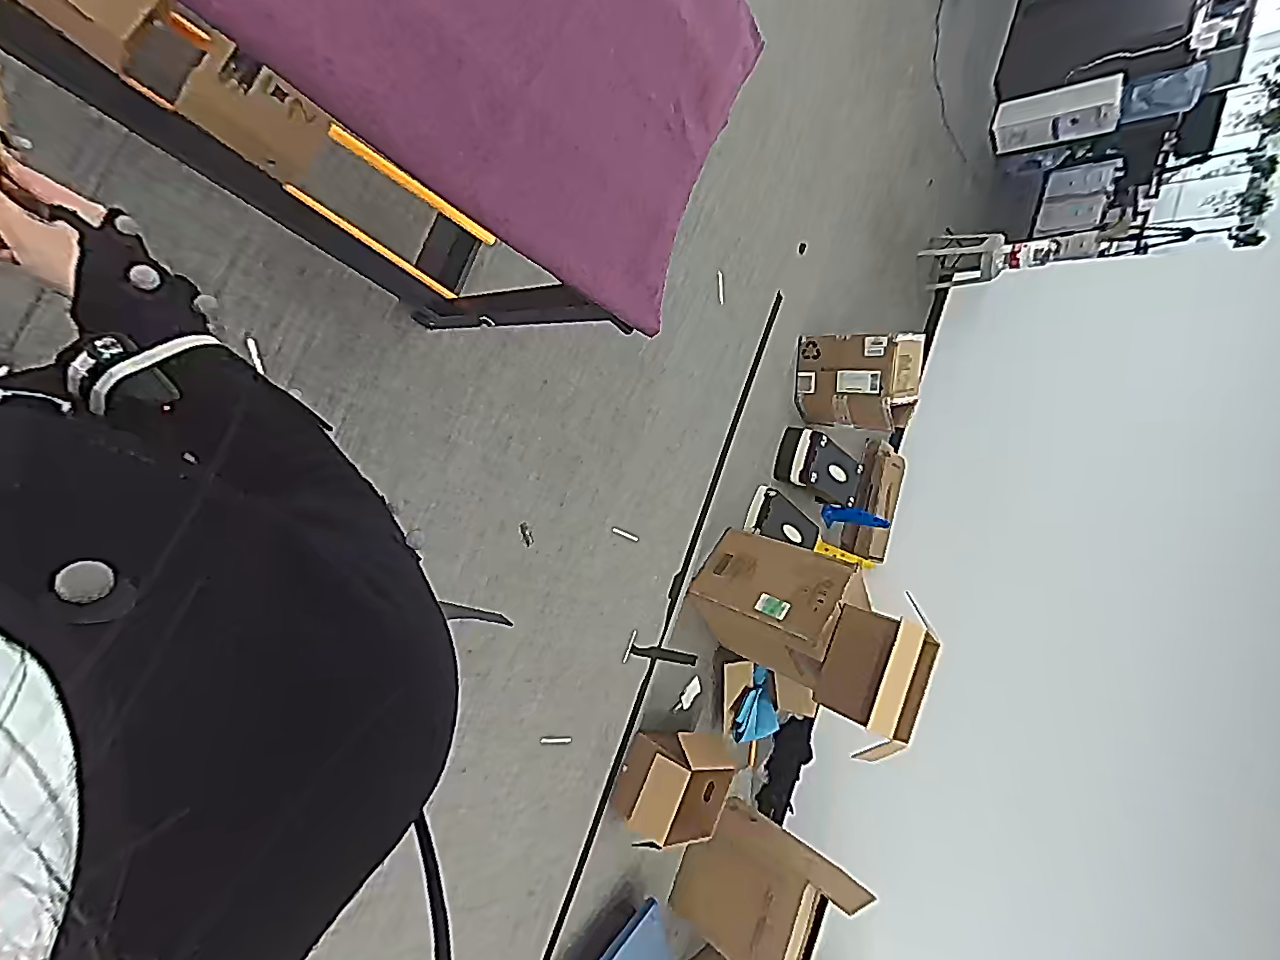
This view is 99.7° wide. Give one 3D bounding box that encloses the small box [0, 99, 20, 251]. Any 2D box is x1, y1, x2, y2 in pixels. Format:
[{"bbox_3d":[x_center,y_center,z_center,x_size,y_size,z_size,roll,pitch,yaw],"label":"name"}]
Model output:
[{"bbox_3d":[-0.539,-0.253,0.343,0.179,0.176,0.168,-10,102,-43],"label":"small box"}]
